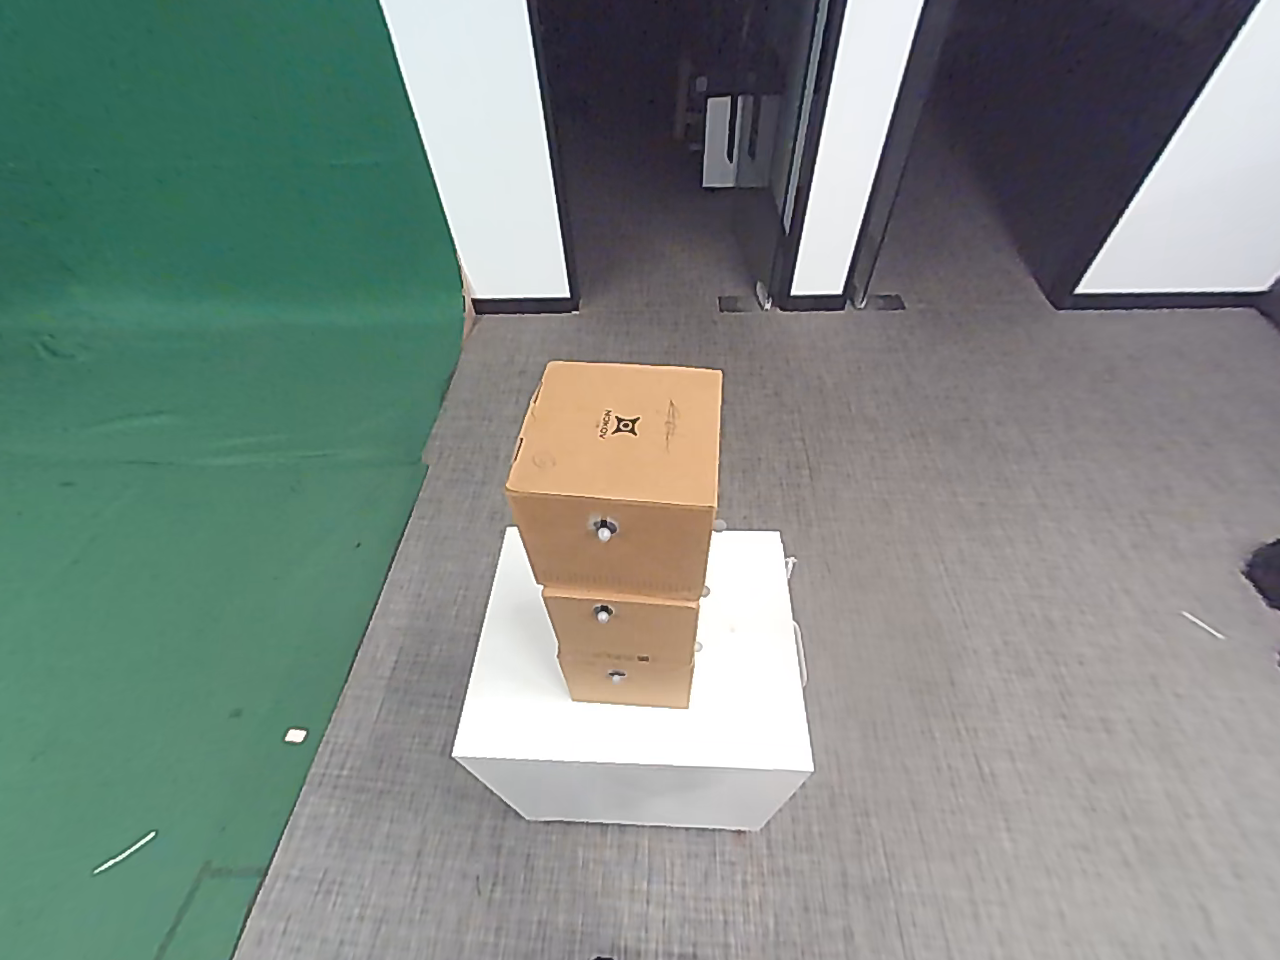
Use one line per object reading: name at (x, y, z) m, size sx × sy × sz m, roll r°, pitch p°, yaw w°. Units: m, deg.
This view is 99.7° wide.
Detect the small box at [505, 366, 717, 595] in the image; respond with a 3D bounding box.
small box at (-0.017, 0.004, 0.555) m, size 0.179 × 0.176 × 0.168 m, roll 5°, pitch 52°, yaw 5°

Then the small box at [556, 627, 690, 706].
small box at (-0.013, 0.220, 0.798) m, size 0.179 × 0.176 × 0.168 m, roll 3°, pitch 50°, yaw 4°

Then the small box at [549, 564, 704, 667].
small box at (-0.010, 0.114, 0.678) m, size 0.168 × 0.176 × 0.179 m, roll 2°, pitch 50°, yaw 2°
